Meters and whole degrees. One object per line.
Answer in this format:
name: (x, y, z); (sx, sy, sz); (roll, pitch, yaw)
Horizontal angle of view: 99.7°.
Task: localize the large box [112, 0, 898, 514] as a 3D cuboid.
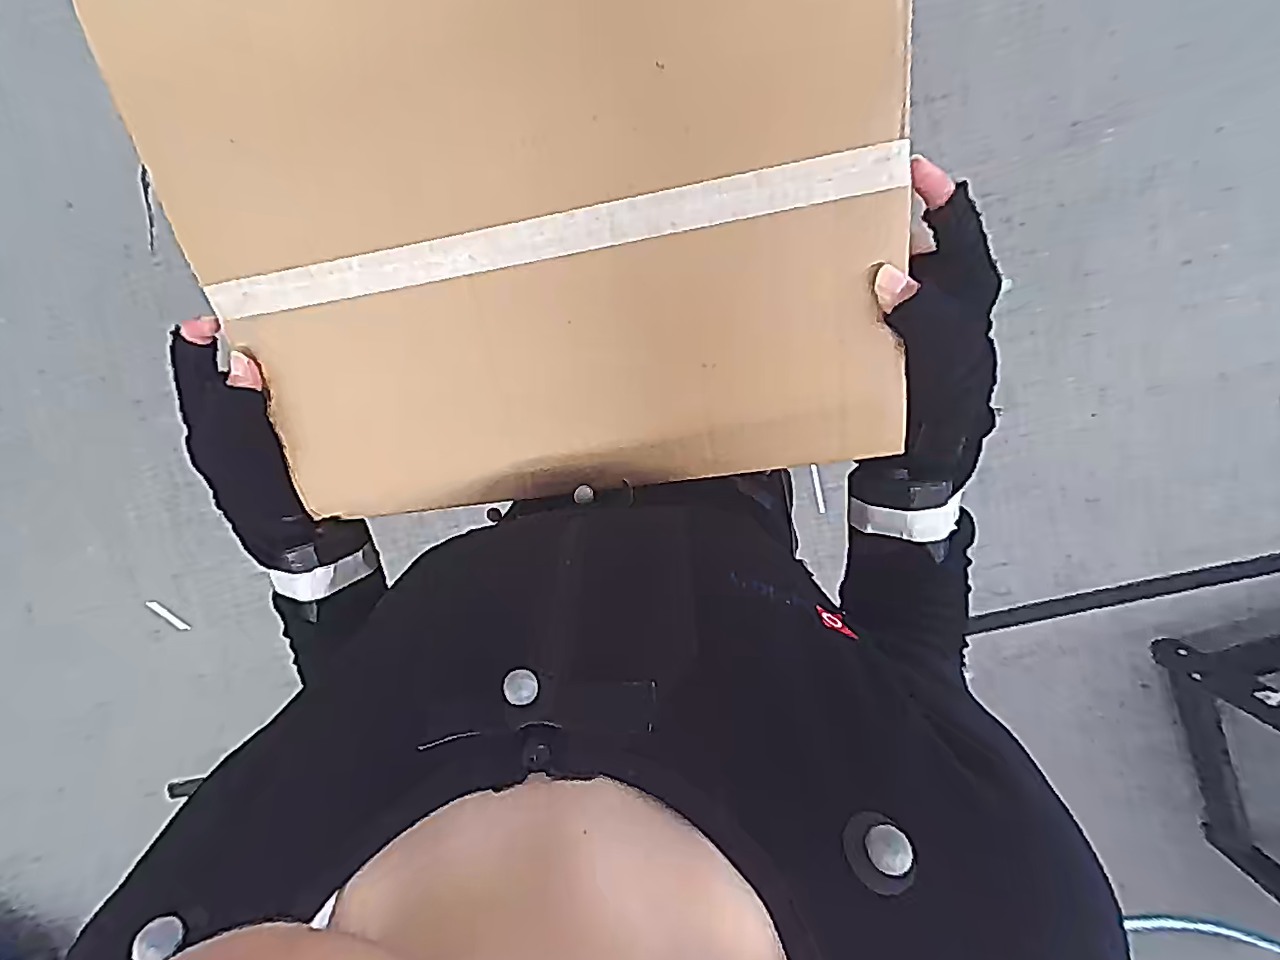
large box: (-0.045, -0.199, 0.445); (0.408, 0.320, 0.320); (-7, 112, 9)
